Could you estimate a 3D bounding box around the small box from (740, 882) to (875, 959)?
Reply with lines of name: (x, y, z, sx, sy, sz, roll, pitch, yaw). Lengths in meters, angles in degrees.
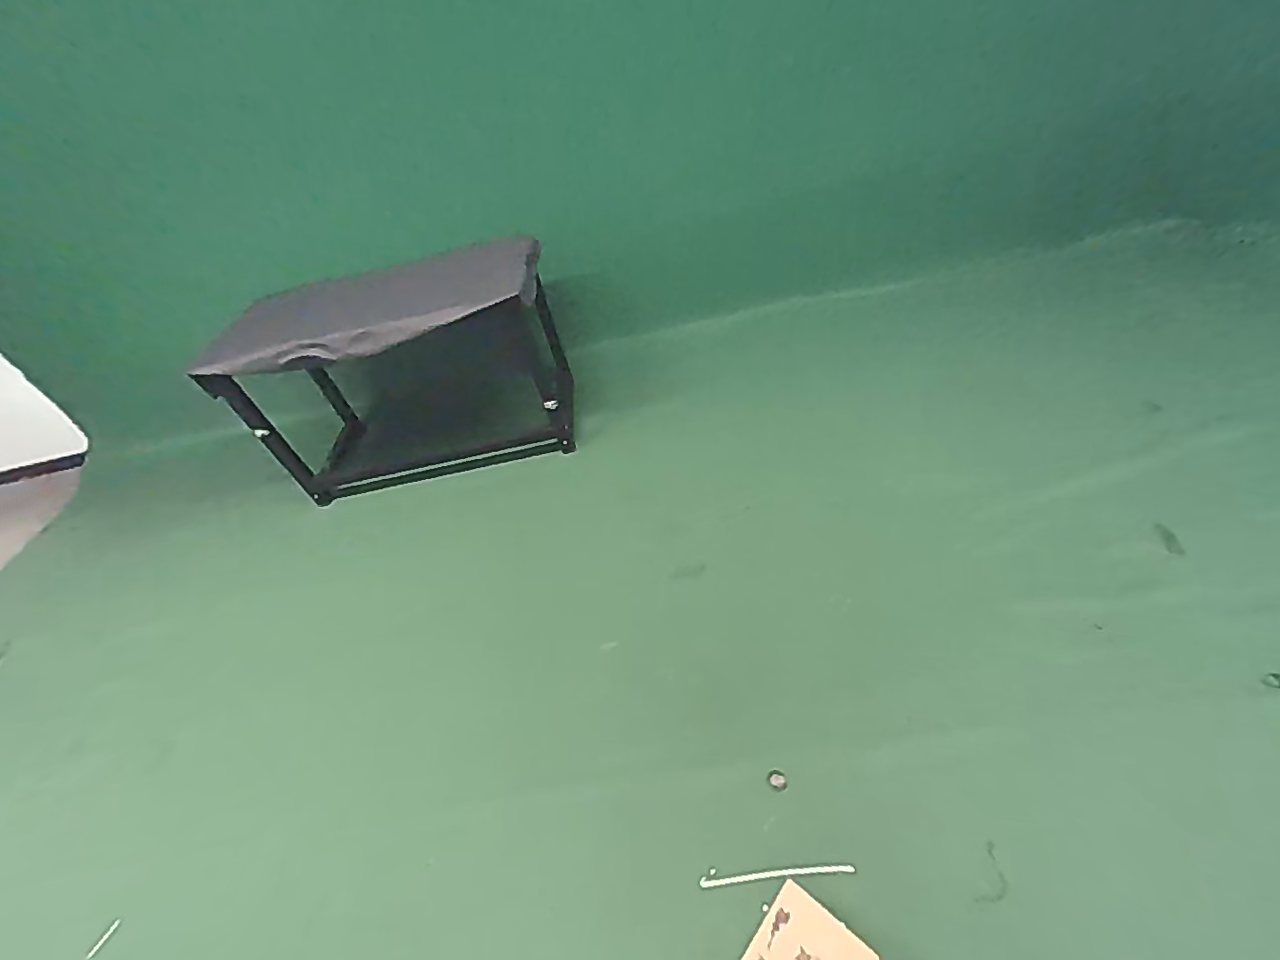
small box: (0.292, 0.861, 0.948, 0.179, 0.176, 0.168, 26, 56, 36)
